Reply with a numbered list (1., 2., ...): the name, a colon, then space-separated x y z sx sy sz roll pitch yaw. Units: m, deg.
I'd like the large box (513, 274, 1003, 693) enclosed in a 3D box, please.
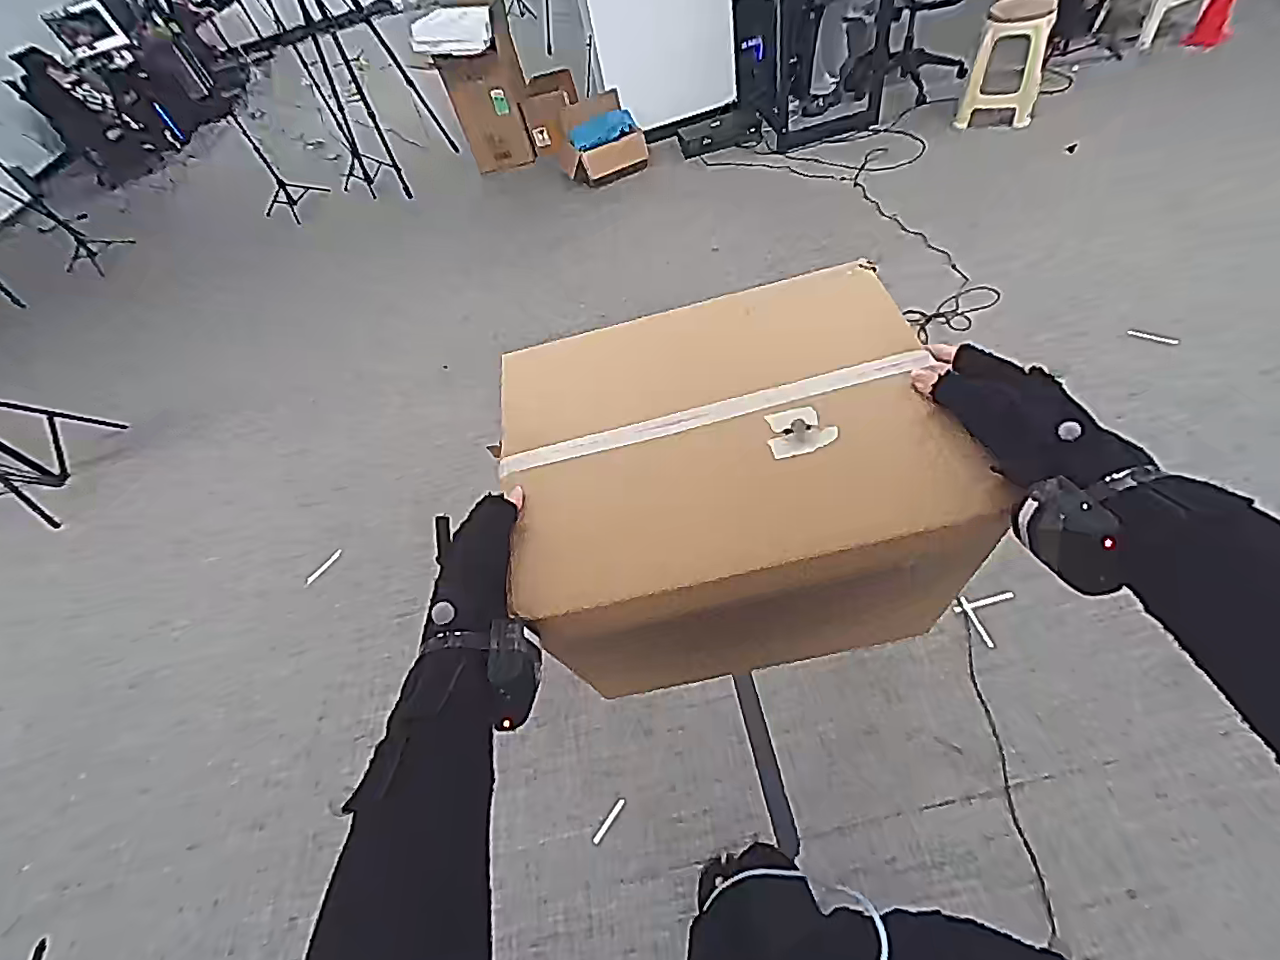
1. large box: 0.098 0.024 0.640 0.408 0.320 0.320 -14 56 4
